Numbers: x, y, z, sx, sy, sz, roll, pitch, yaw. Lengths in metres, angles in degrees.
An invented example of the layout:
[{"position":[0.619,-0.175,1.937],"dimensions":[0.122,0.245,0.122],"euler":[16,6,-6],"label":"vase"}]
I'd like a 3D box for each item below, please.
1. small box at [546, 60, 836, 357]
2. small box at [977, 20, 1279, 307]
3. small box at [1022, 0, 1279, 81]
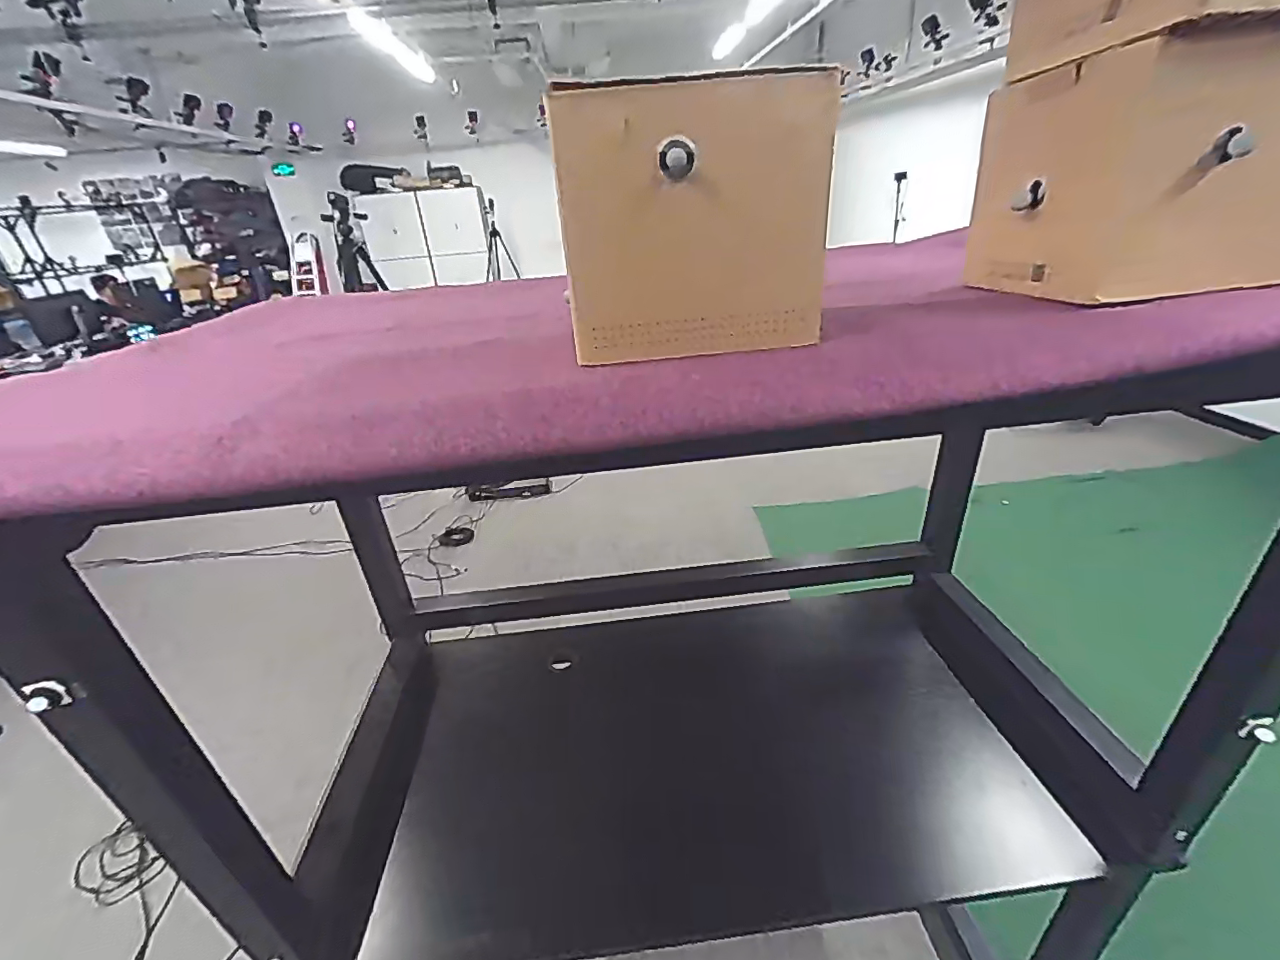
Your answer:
[{"position":[0.033,-0.199,0.421],"dimensions":[0.179,0.176,0.168],"euler":[-5,28,-2],"label":"small box"},{"position":[0.409,-0.244,0.443],"dimensions":[0.179,0.176,0.168],"euler":[-7,26,-1],"label":"small box"},{"position":[0.395,-0.385,0.361],"dimensions":[0.179,0.176,0.168],"euler":[-7,26,-1],"label":"small box"}]
